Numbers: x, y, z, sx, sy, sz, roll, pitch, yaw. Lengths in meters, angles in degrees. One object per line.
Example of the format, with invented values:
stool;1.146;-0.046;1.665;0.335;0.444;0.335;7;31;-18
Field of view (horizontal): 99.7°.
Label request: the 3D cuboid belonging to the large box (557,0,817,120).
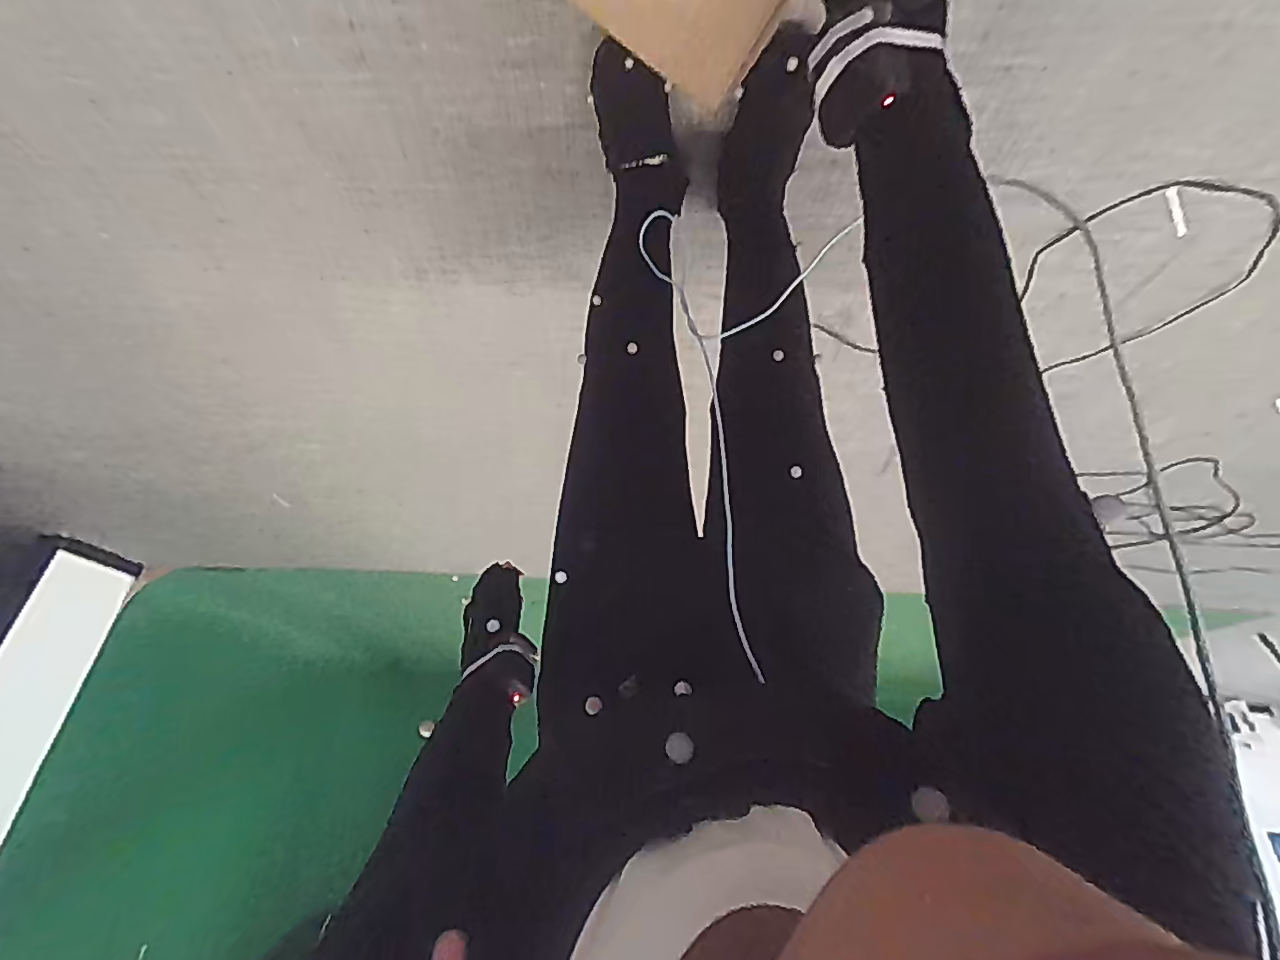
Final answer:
large box;0.024;-0.585;0.416;0.408;0.320;0.320;33;139;-9
